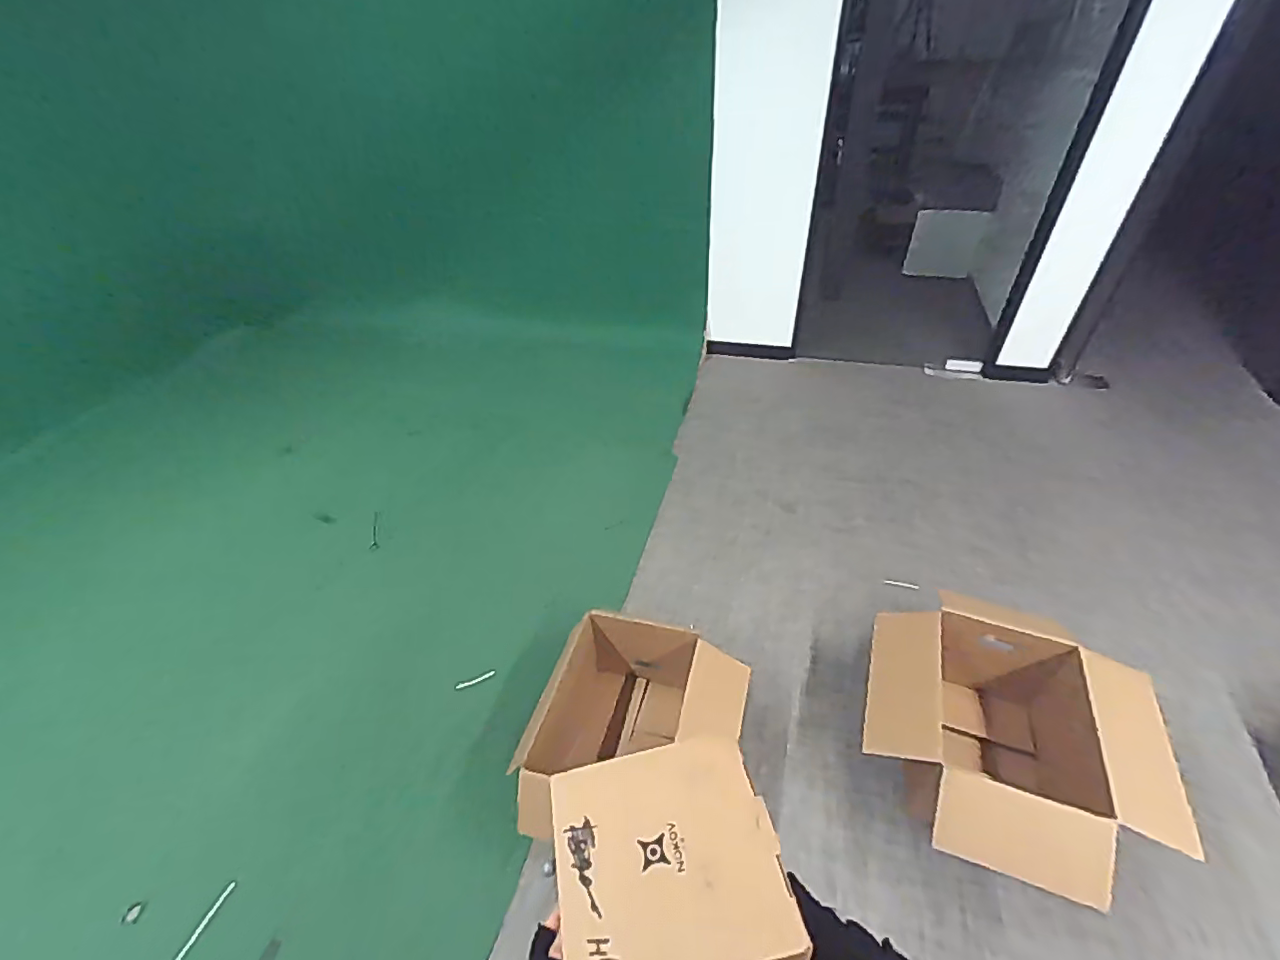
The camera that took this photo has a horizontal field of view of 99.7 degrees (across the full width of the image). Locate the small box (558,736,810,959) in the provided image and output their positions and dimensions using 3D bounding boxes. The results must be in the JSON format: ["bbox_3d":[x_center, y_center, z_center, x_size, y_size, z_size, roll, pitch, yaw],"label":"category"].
[{"bbox_3d":[0.027,0.365,0.484,0.179,0.176,0.168,-9,36,-6],"label":"small box"}]
